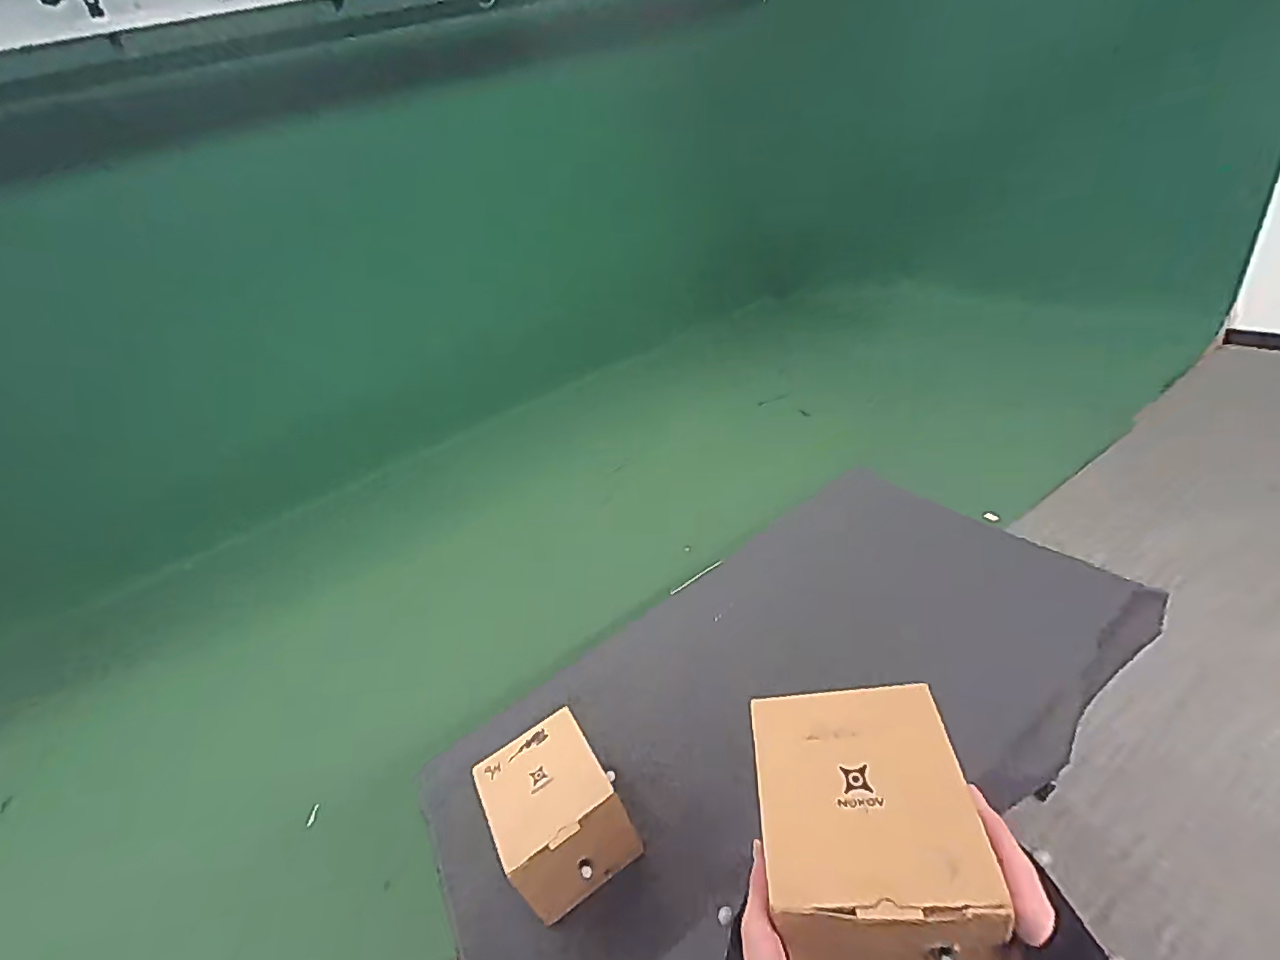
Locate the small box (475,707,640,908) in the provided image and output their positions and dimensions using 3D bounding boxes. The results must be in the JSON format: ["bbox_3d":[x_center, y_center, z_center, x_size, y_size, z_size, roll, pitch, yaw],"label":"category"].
[{"bbox_3d":[-0.120,0.492,0.811,0.168,0.176,0.179,-27,34,-19],"label":"small box"}]

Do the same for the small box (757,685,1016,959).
[{"bbox_3d":[0.206,0.316,0.490,0.168,0.176,0.179,-9,32,12],"label":"small box"}]
